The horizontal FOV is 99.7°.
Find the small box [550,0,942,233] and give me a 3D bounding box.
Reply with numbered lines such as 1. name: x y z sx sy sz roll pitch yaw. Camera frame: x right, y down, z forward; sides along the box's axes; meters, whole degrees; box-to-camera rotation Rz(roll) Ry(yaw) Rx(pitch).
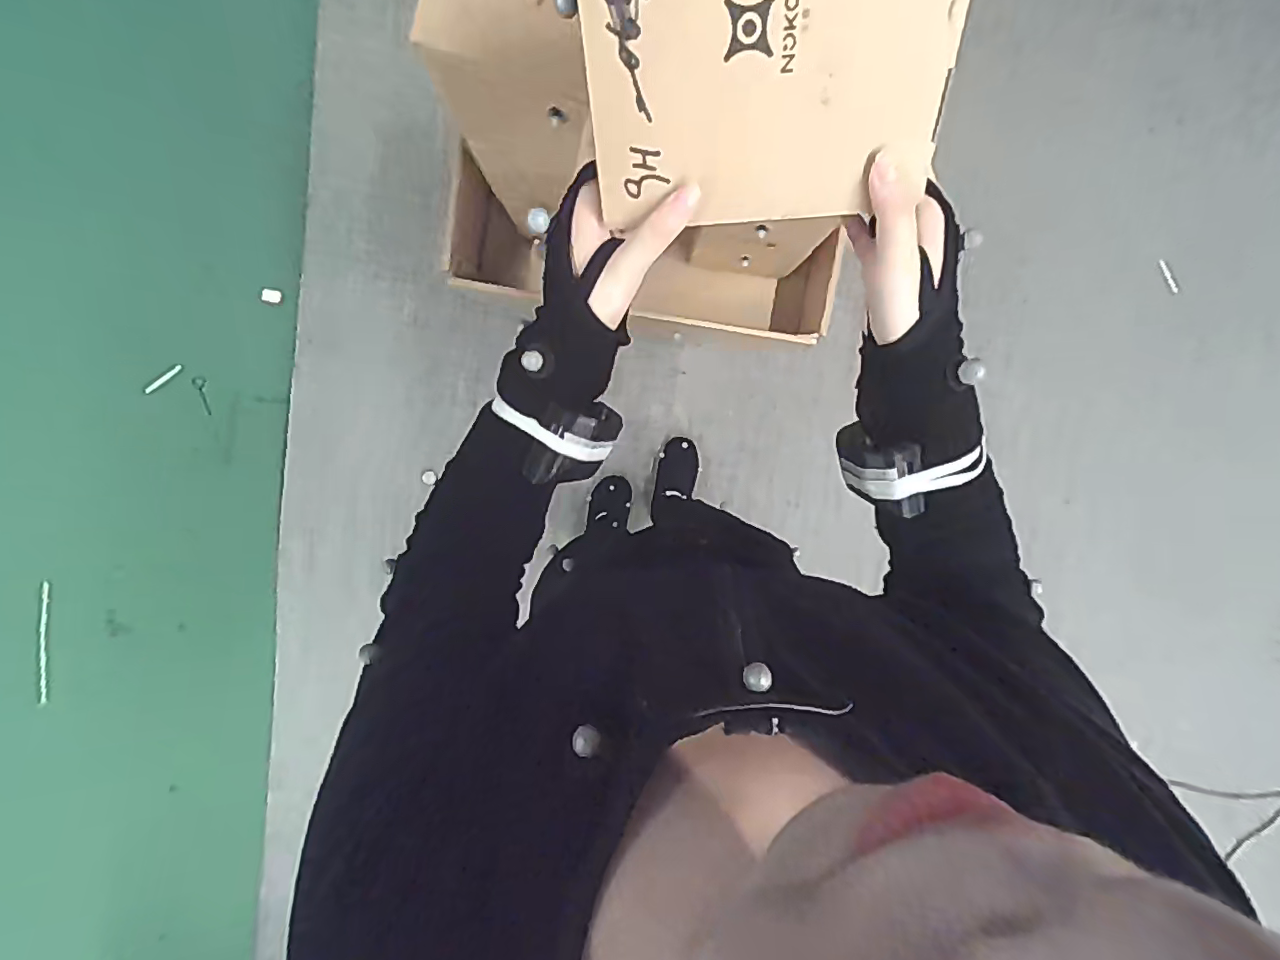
1. small box: 0.050 -0.256 0.306 0.179 0.176 0.168 -2 130 6

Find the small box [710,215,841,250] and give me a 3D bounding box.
1. small box: 0.185 -0.426 0.717 0.168 0.176 0.179 10 96 -1

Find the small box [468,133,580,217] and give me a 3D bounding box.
1. small box: -0.107 -0.472 0.716 0.168 0.176 0.179 15 95 -3
